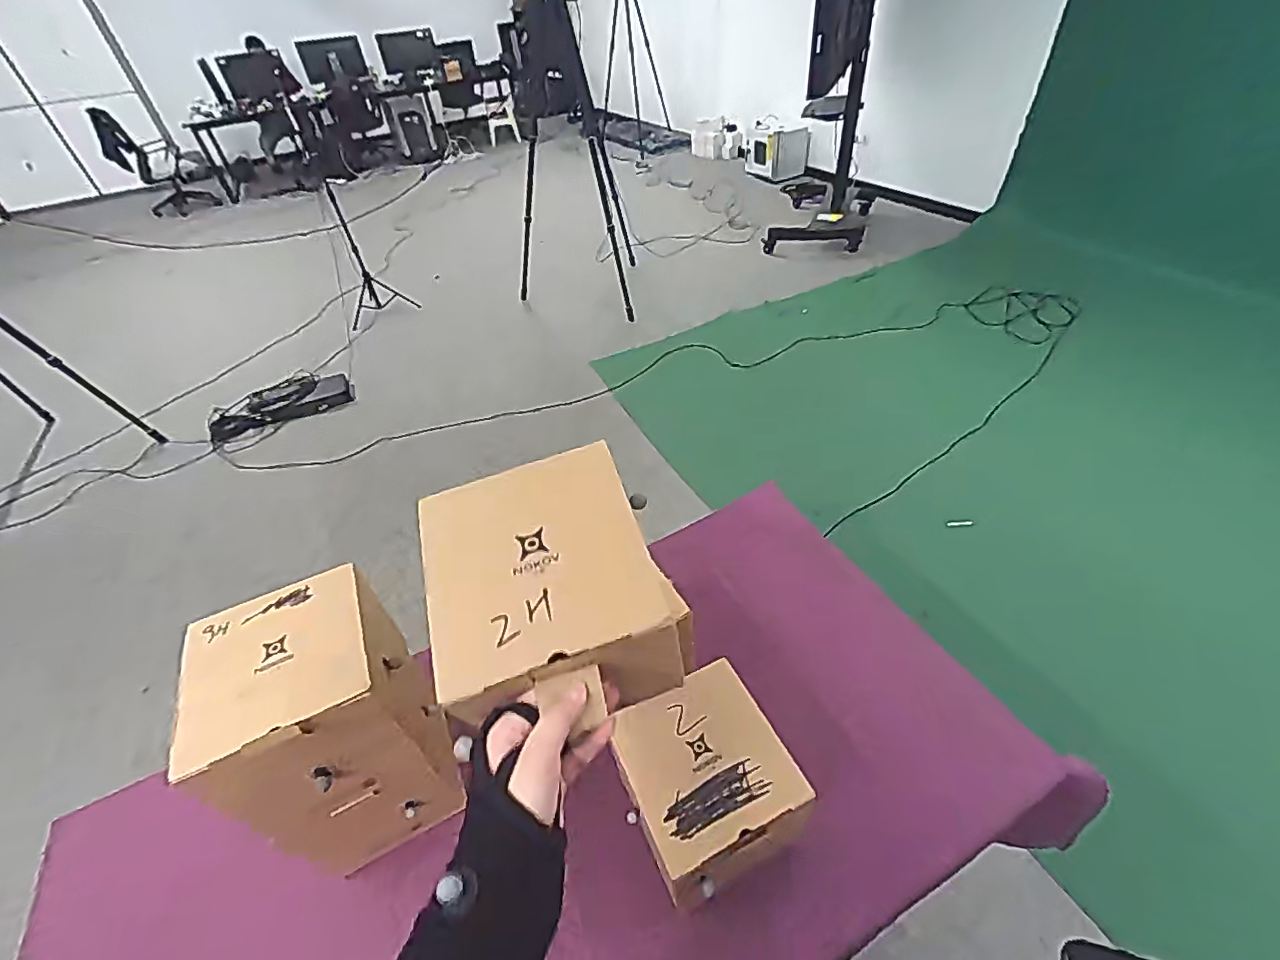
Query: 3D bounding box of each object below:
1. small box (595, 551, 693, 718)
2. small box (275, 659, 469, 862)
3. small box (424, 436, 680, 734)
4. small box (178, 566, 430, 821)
[{"bbox_3d":[-0.036,0.211,0.800,0.168,0.176,0.179,-25,47,-18],"label":"small box"},{"bbox_3d":[-0.337,0.352,0.693,0.168,0.176,0.179,-23,45,-17],"label":"small box"},{"bbox_3d":[-0.071,0.097,0.478,0.168,0.176,0.179,-19,55,-4],"label":"small box"},{"bbox_3d":[-0.345,0.232,0.581,0.168,0.176,0.179,-23,47,-18],"label":"small box"}]
